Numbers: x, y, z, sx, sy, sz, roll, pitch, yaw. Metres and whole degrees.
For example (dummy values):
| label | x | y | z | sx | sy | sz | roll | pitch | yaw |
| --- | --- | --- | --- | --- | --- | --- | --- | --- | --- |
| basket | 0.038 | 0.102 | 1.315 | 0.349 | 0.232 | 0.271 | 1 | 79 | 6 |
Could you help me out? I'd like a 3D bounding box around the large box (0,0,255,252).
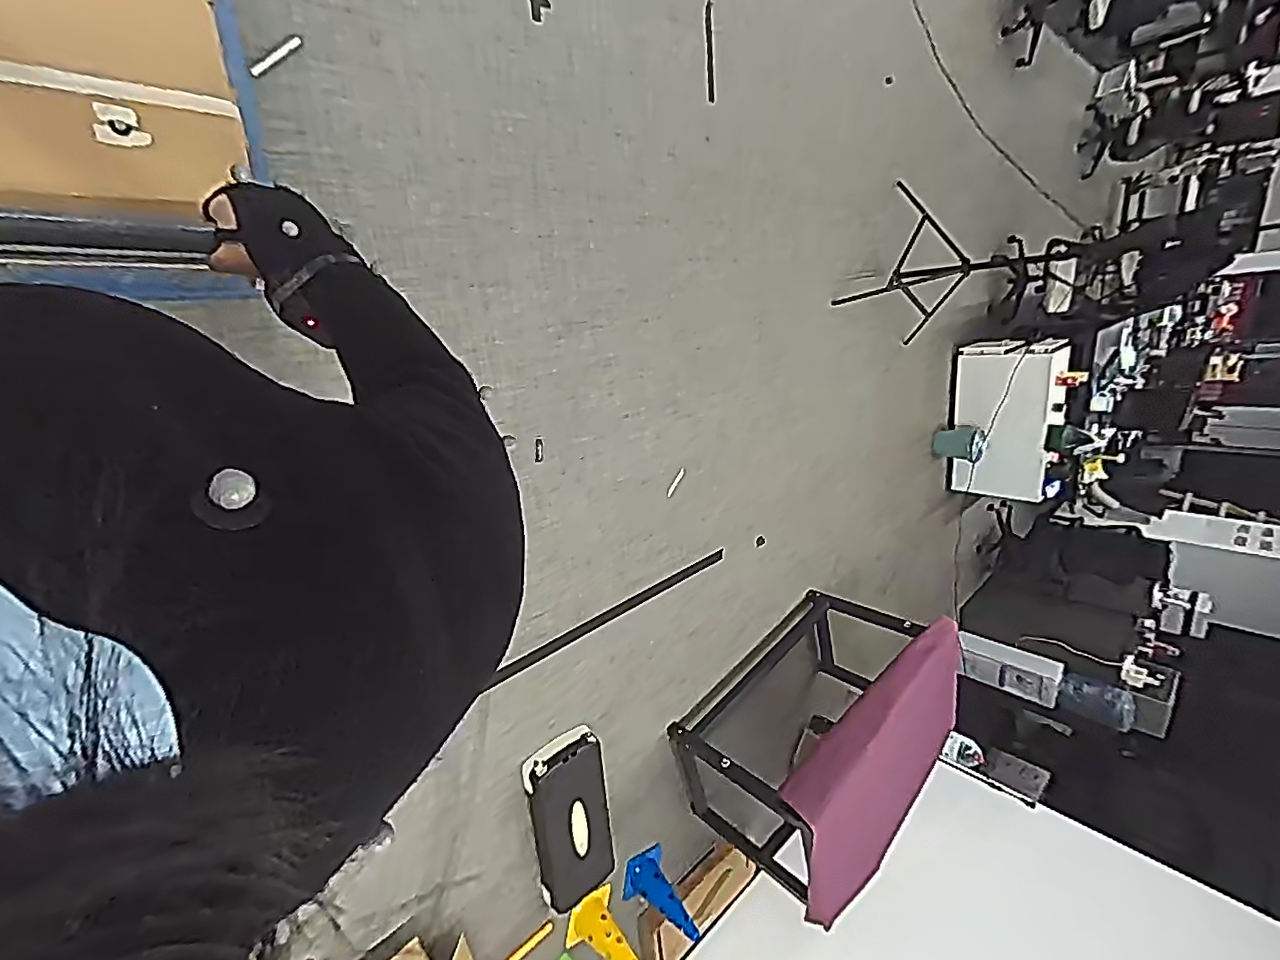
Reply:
| label | x | y | z | sx | sy | sz | roll | pitch | yaw |
| --- | --- | --- | --- | --- | --- | --- | --- | --- | --- |
| large box | -0.853 | -0.524 | 0.782 | 0.408 | 0.320 | 0.320 | -16 | 109 | -40 |
